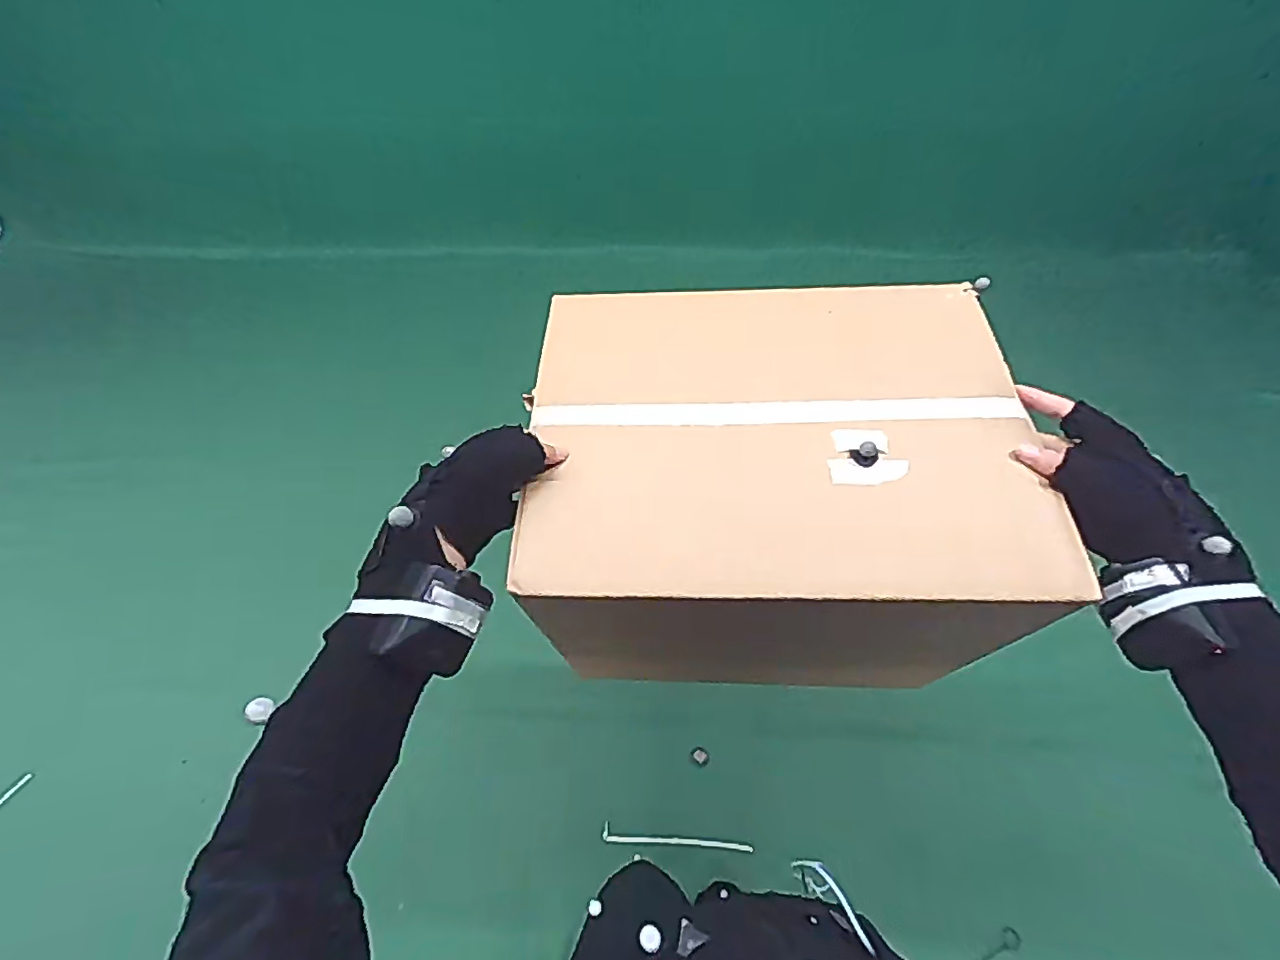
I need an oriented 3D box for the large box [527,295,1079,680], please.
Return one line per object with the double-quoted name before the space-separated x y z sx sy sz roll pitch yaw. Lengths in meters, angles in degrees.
"large box" 0.121 0.027 0.591 0.408 0.320 0.320 0 59 3
